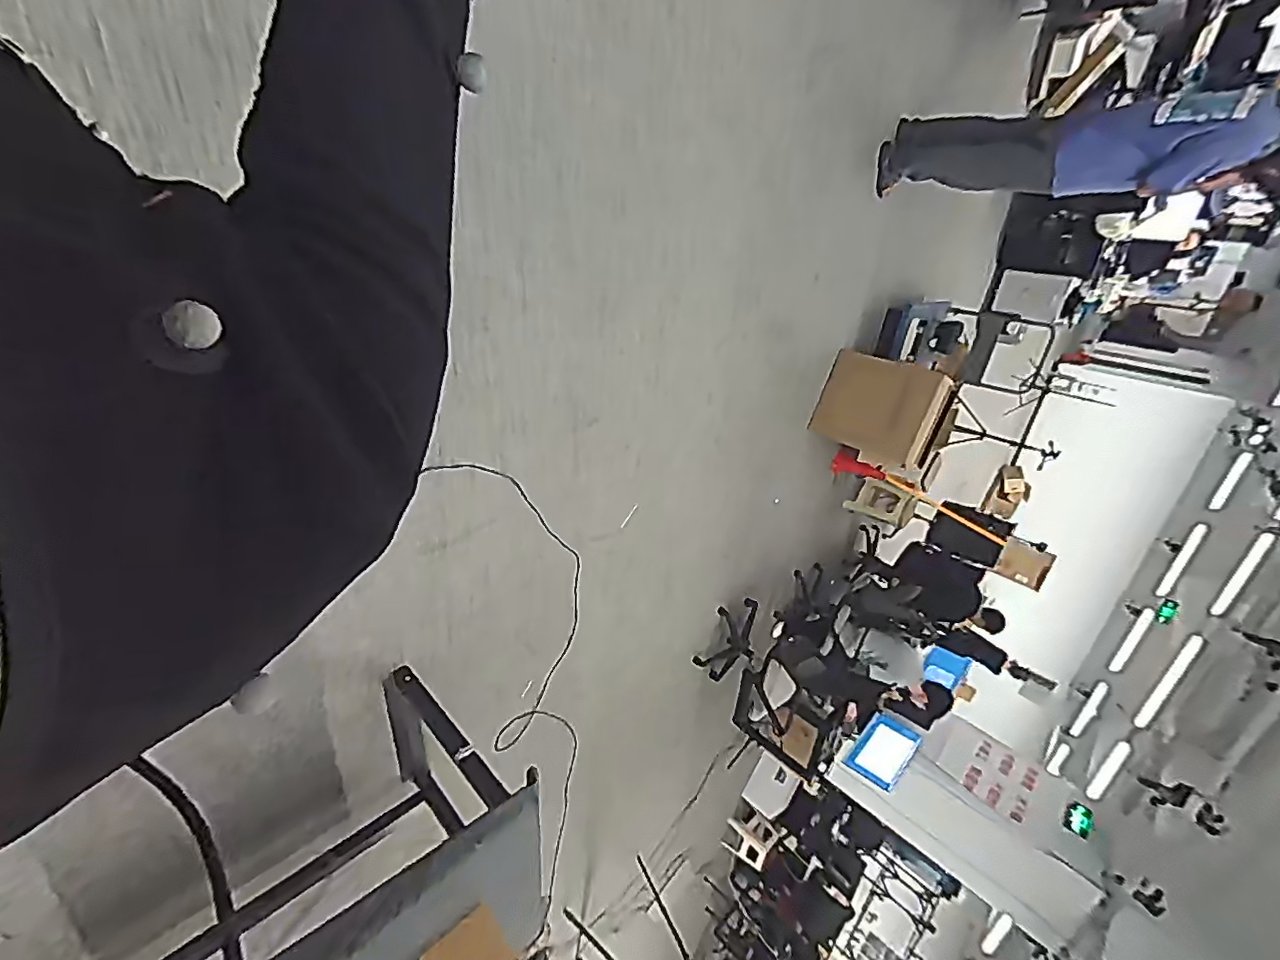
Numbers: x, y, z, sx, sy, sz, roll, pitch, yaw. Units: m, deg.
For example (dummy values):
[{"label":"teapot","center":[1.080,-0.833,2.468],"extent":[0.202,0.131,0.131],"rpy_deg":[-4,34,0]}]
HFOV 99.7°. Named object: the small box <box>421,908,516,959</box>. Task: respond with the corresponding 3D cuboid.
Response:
[{"label":"small box","center":[-0.419,1.212,1.320],"extent":[0.179,0.176,0.168],"rpy_deg":[-22,127,-40]}]
